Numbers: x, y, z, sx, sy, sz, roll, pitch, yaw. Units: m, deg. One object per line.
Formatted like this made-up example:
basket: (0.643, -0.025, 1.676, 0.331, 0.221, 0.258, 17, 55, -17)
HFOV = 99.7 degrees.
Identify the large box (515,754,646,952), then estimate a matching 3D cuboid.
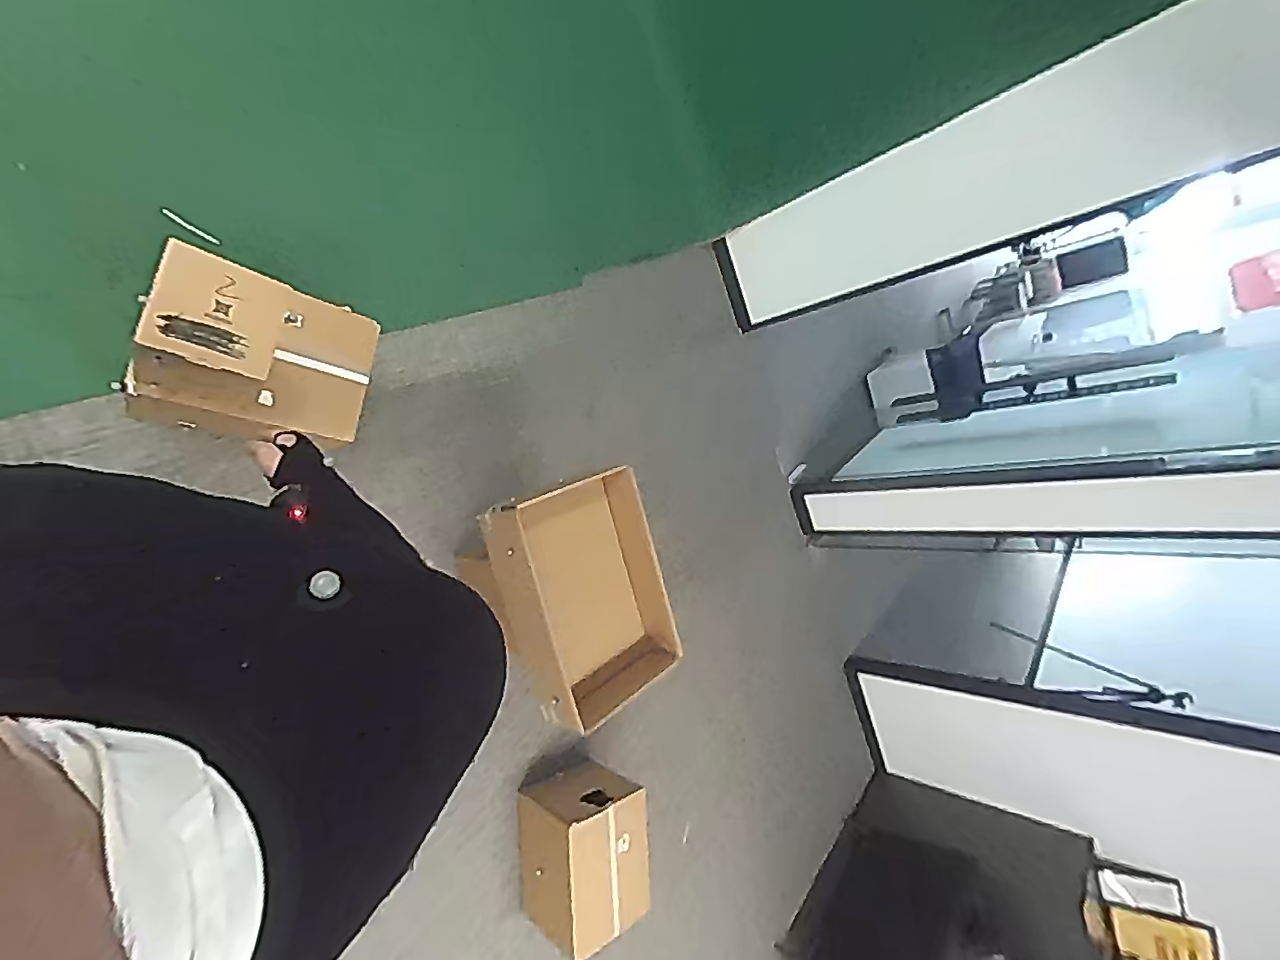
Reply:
large box: (-0.205, 1.215, 1.817, 0.320, 0.320, 0.408, -1, 86, -43)

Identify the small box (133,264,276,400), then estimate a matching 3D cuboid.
small box: (-0.820, -0.264, 1.021, 0.168, 0.176, 0.179, 20, 73, -41)
